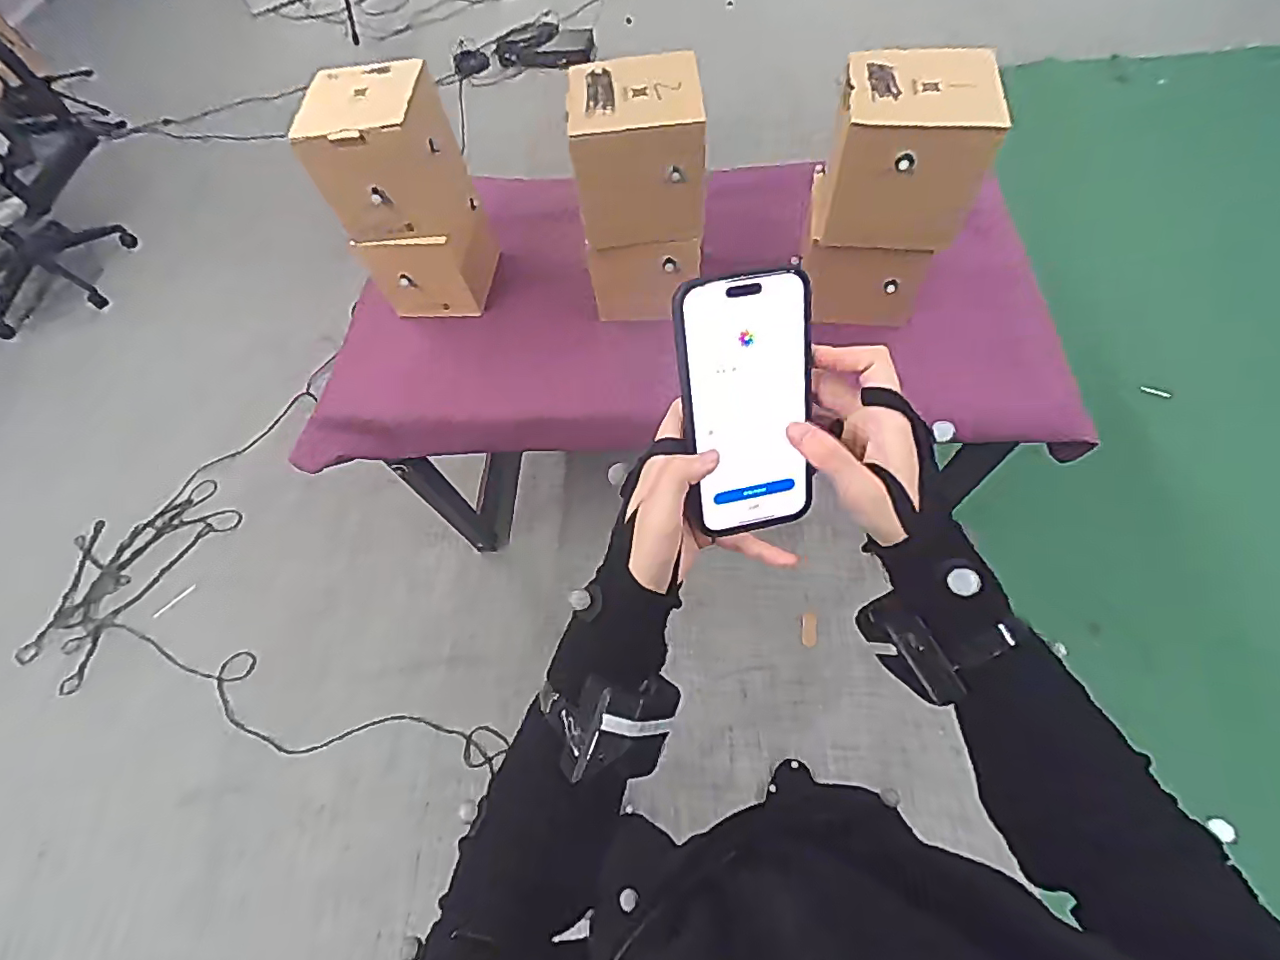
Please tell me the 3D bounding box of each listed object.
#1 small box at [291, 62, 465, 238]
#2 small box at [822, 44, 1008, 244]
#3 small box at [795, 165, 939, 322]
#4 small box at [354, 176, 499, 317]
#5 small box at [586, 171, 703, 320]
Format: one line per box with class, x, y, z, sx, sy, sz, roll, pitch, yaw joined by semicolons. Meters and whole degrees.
small box;-0.386;-0.495;0.833;0.168;0.176;0.179;-3;63;4
small box;0.344;-0.436;0.715;0.179;0.176;0.168;6;63;9
small box;0.354;-0.373;0.867;0.179;0.176;0.168;6;63;11
small box;-0.369;-0.411;0.974;0.168;0.176;0.179;1;62;7
small box;0.017;-0.390;0.915;0.179;0.176;0.168;0;62;7
